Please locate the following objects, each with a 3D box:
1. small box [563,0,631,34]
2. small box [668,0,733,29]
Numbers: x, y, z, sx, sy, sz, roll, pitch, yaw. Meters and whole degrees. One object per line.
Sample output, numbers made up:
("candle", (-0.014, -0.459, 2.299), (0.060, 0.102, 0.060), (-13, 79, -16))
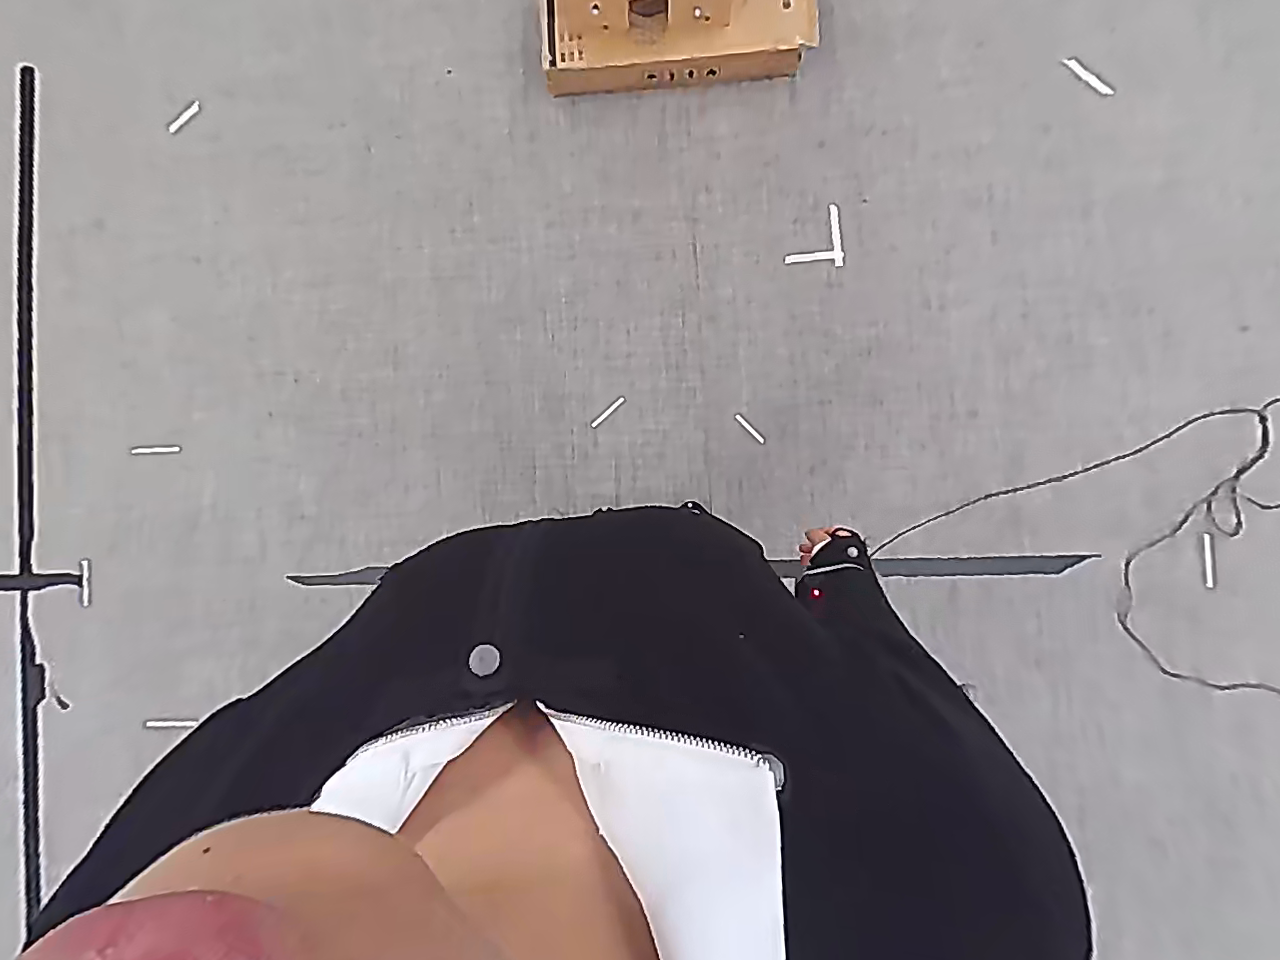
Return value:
("small box", (-0.113, -1.284, 1.381), (0.168, 0.176, 0.179), (-2, 89, 4))
("small box", (0.155, -1.294, 1.366), (0.168, 0.176, 0.179), (1, 88, 4))
